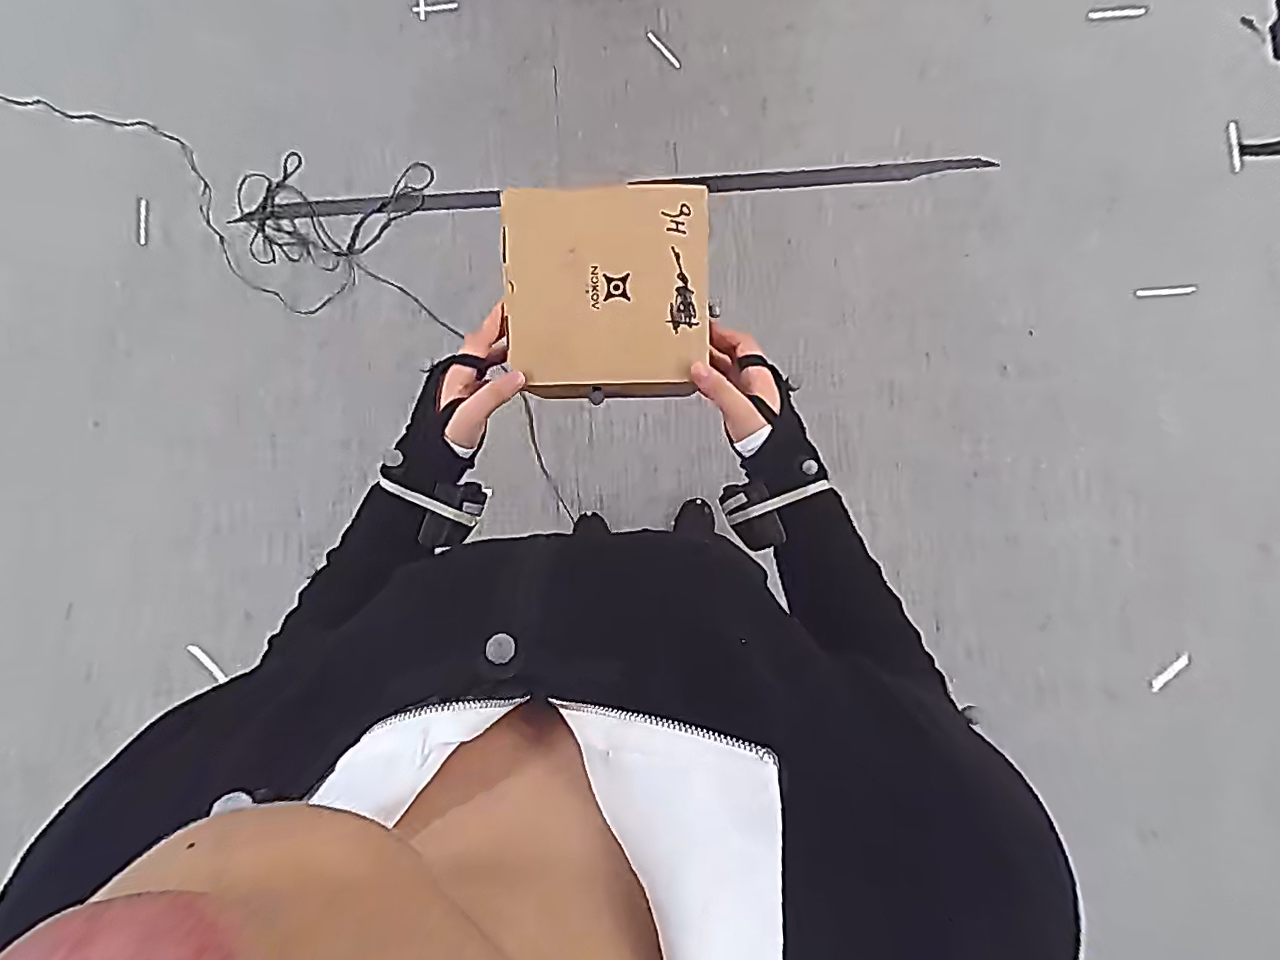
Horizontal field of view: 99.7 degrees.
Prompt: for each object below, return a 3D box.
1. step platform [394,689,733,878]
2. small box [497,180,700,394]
[{"bbox_3d":[-0.153,0.638,1.173,0.684,0.204,0.286,-5,87,3],"label":"step platform"},{"bbox_3d":[-0.034,-0.177,0.543,0.179,0.176,0.168,-1,94,0],"label":"small box"}]
